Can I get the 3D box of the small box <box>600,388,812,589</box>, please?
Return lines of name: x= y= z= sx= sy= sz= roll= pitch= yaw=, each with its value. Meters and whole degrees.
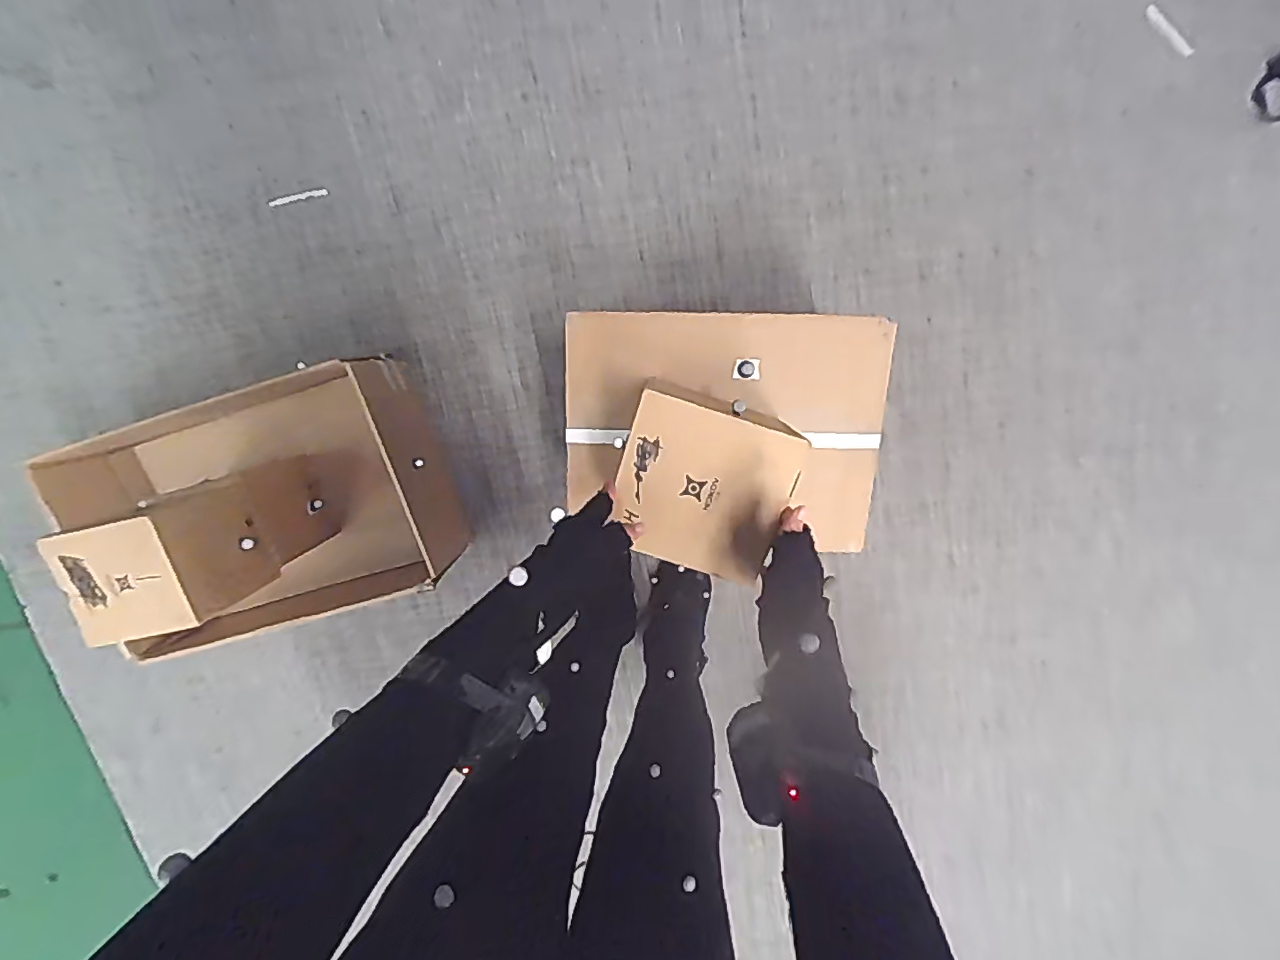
small box: x=0.068 y=-0.003 z=0.628 sx=0.179 sy=0.176 sz=0.168 roll=18 pitch=104 yaw=-2

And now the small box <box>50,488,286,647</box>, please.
small box: x=-0.687 y=0.123 z=0.810 sx=0.179 sy=0.176 sz=0.168 roll=-12 pitch=103 yaw=5

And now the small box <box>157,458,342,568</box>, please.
small box: x=-0.682 y=0.071 z=0.967 sx=0.179 sy=0.176 sz=0.168 roll=-15 pitch=103 yaw=5
